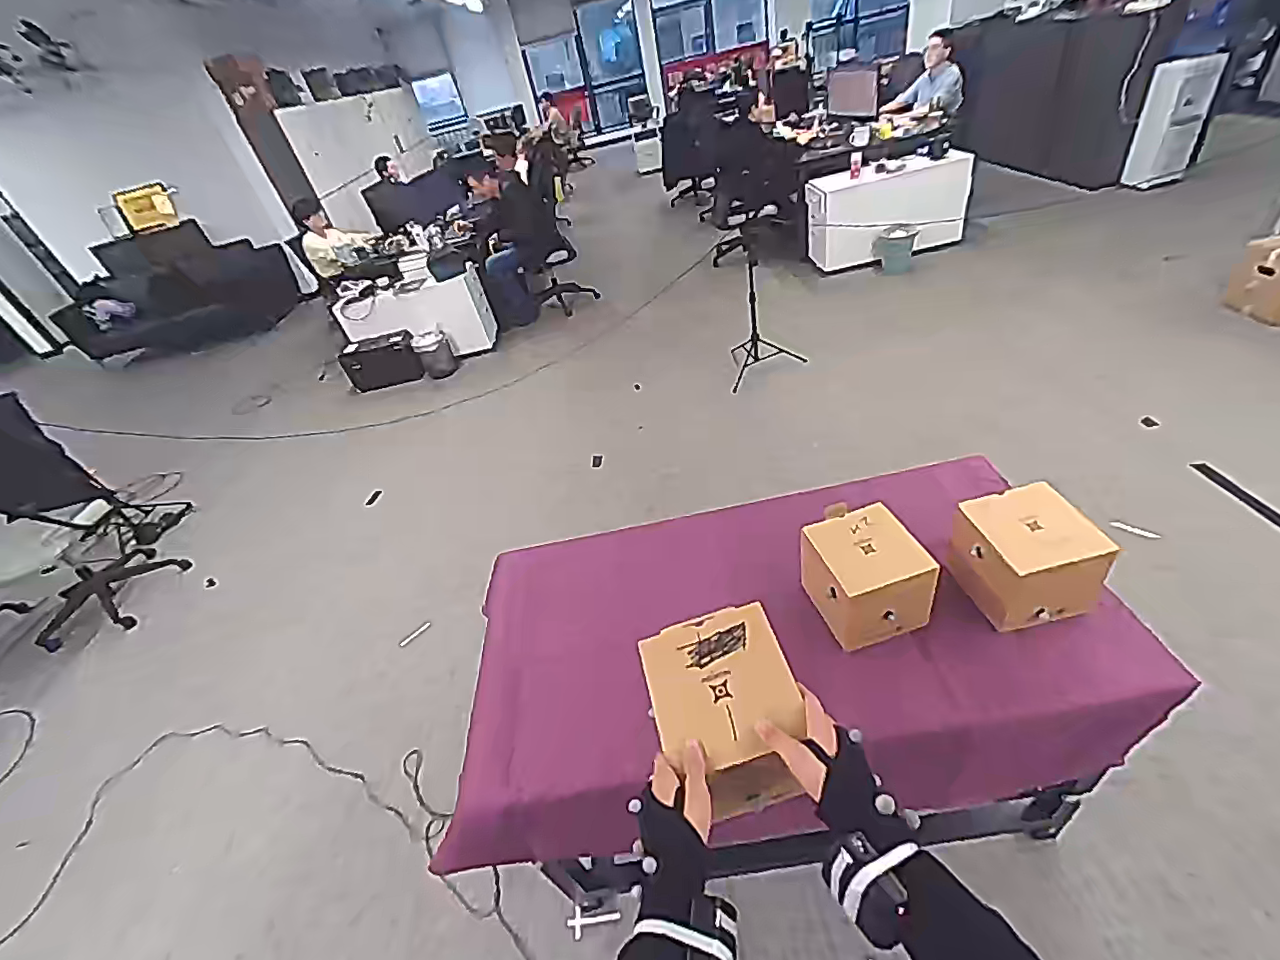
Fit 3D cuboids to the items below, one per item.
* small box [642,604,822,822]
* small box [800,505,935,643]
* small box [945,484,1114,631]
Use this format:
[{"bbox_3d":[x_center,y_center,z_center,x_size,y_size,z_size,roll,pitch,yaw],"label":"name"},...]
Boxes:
[{"bbox_3d":[0.115,0.294,0.682,0.168,0.176,0.179,-20,42,2],"label":"small box"},{"bbox_3d":[0.415,0.181,1.011,0.168,0.176,0.179,-18,38,-3],"label":"small box"},{"bbox_3d":[0.682,0.139,0.975,0.168,0.176,0.179,-15,38,2],"label":"small box"}]
